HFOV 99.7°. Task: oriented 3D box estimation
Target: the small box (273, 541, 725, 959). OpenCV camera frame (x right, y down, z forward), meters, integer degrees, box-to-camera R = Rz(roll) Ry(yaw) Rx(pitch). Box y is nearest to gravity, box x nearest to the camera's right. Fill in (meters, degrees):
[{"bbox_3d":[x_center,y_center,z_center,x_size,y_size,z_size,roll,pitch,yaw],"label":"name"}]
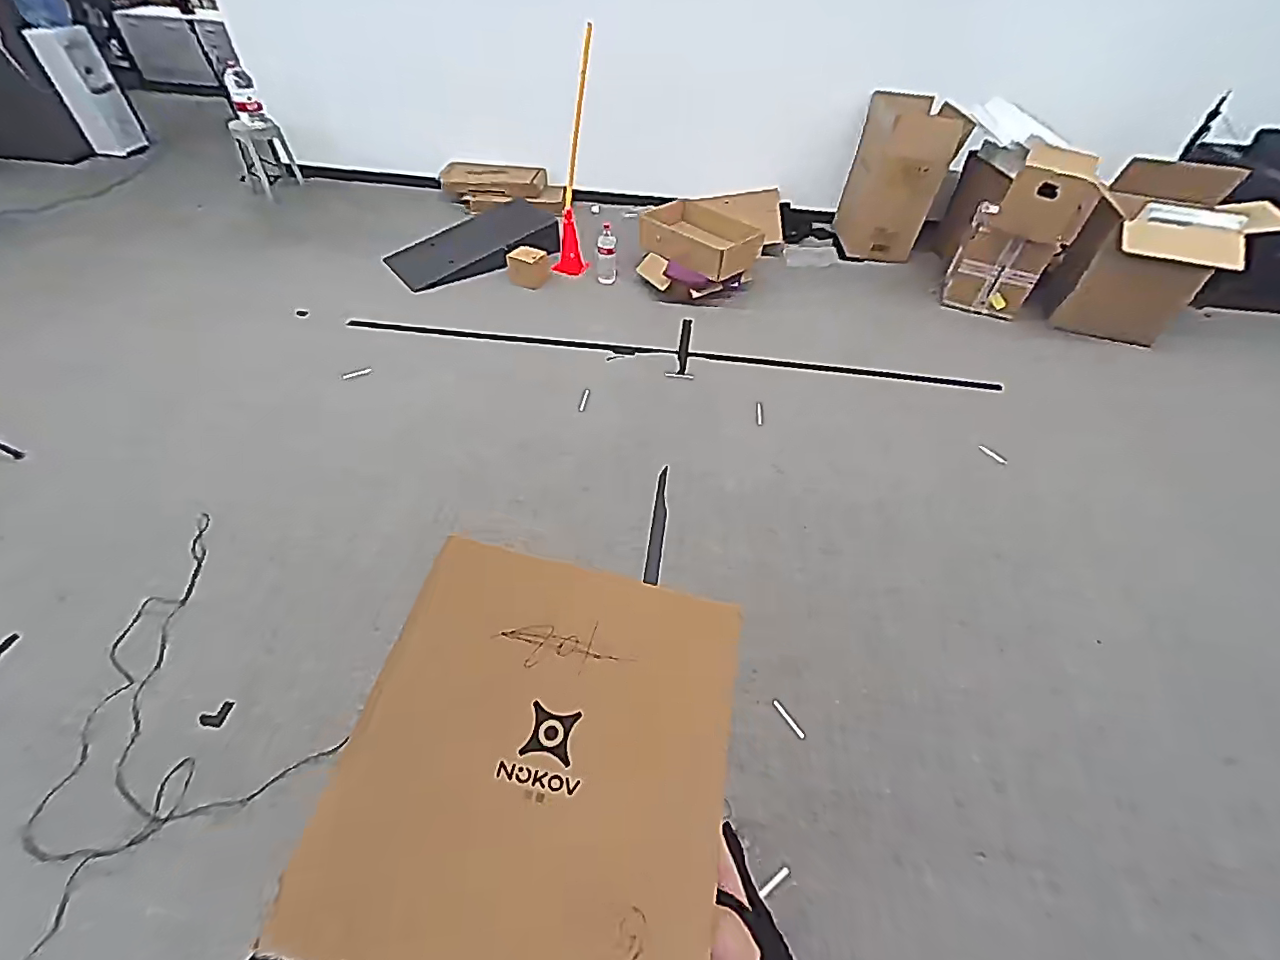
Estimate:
[{"bbox_3d":[-0.059,0.167,0.319,0.168,0.176,0.179,15,53,-3],"label":"small box"}]
